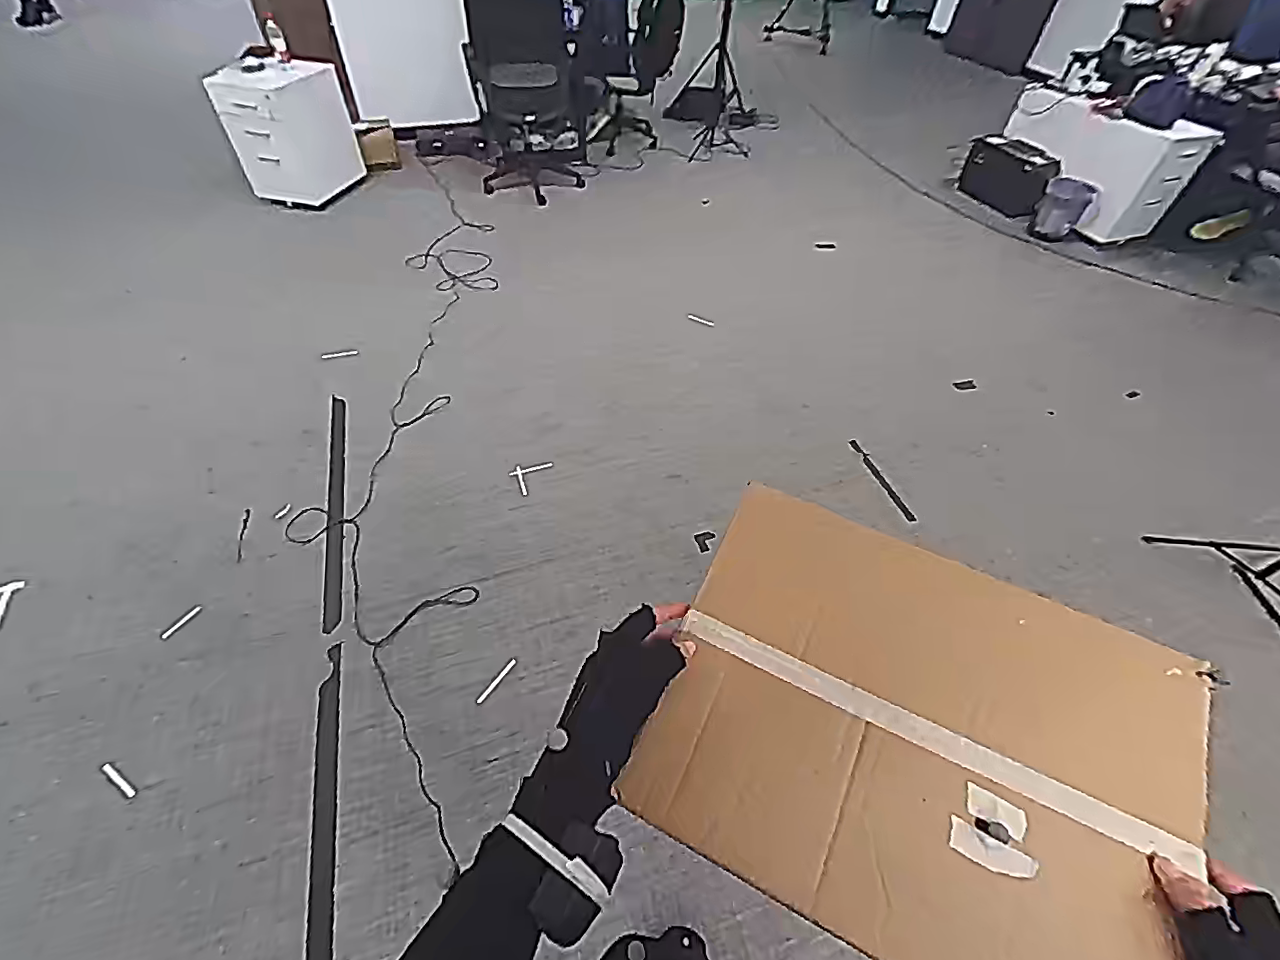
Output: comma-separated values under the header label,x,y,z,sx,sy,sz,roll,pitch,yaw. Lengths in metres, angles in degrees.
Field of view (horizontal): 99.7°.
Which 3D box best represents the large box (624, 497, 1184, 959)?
label,x,y,z,sx,sy,sz,roll,pitch,yaw
large box,0.233,0.277,0.589,0.408,0.320,0.320,23,67,15
